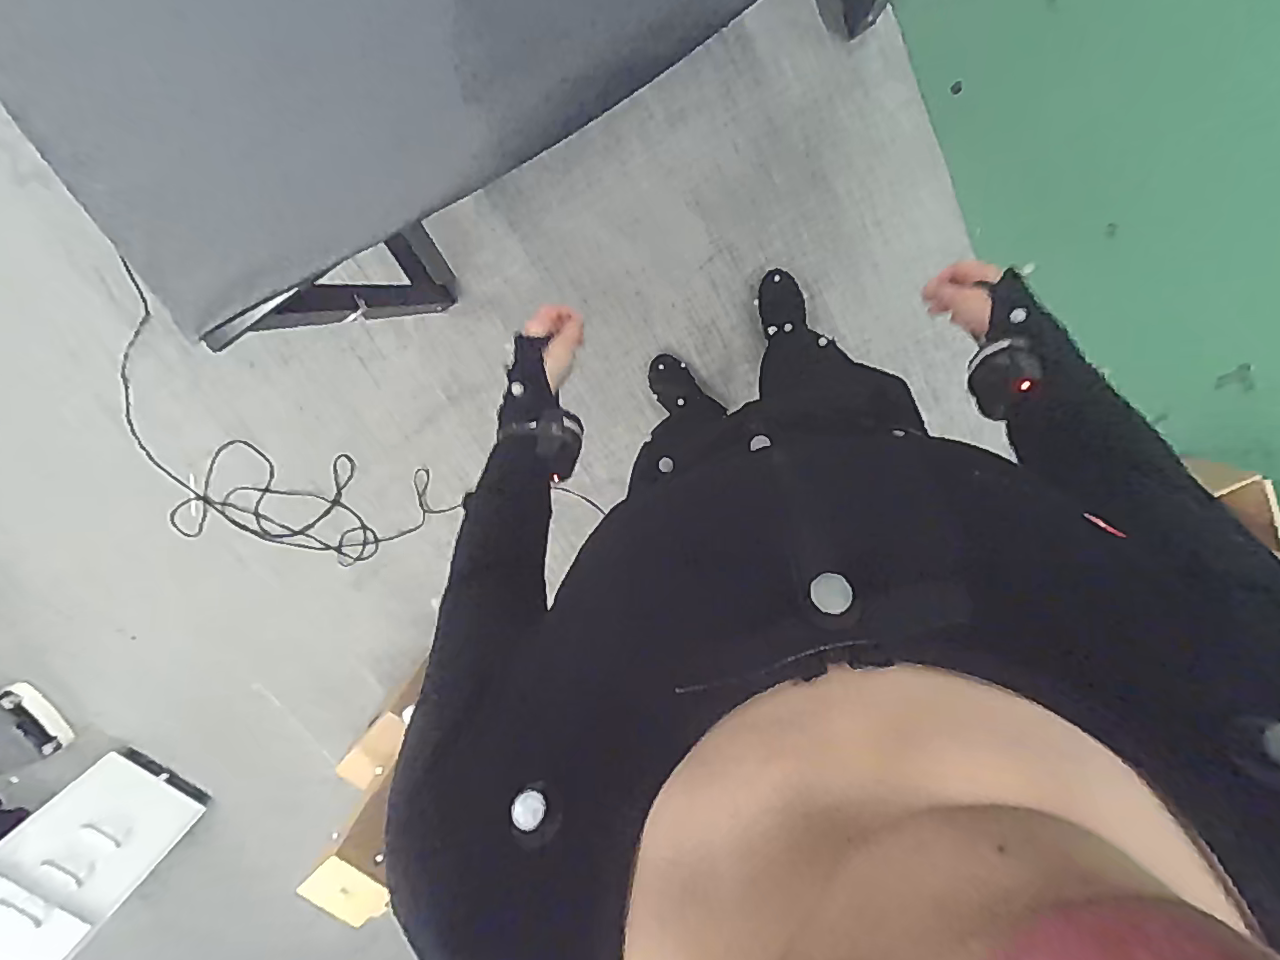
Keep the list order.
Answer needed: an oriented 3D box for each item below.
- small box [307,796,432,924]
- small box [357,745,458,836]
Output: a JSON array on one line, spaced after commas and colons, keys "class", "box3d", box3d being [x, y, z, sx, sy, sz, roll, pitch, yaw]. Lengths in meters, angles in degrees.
[{"class": "small box", "box3d": [-0.648, 0.910, 1.314, 0.179, 0.176, 0.168, 41, 106, -11]}, {"class": "small box", "box3d": [-0.629, 0.866, 1.469, 0.179, 0.176, 0.168, 41, 106, -10]}]
